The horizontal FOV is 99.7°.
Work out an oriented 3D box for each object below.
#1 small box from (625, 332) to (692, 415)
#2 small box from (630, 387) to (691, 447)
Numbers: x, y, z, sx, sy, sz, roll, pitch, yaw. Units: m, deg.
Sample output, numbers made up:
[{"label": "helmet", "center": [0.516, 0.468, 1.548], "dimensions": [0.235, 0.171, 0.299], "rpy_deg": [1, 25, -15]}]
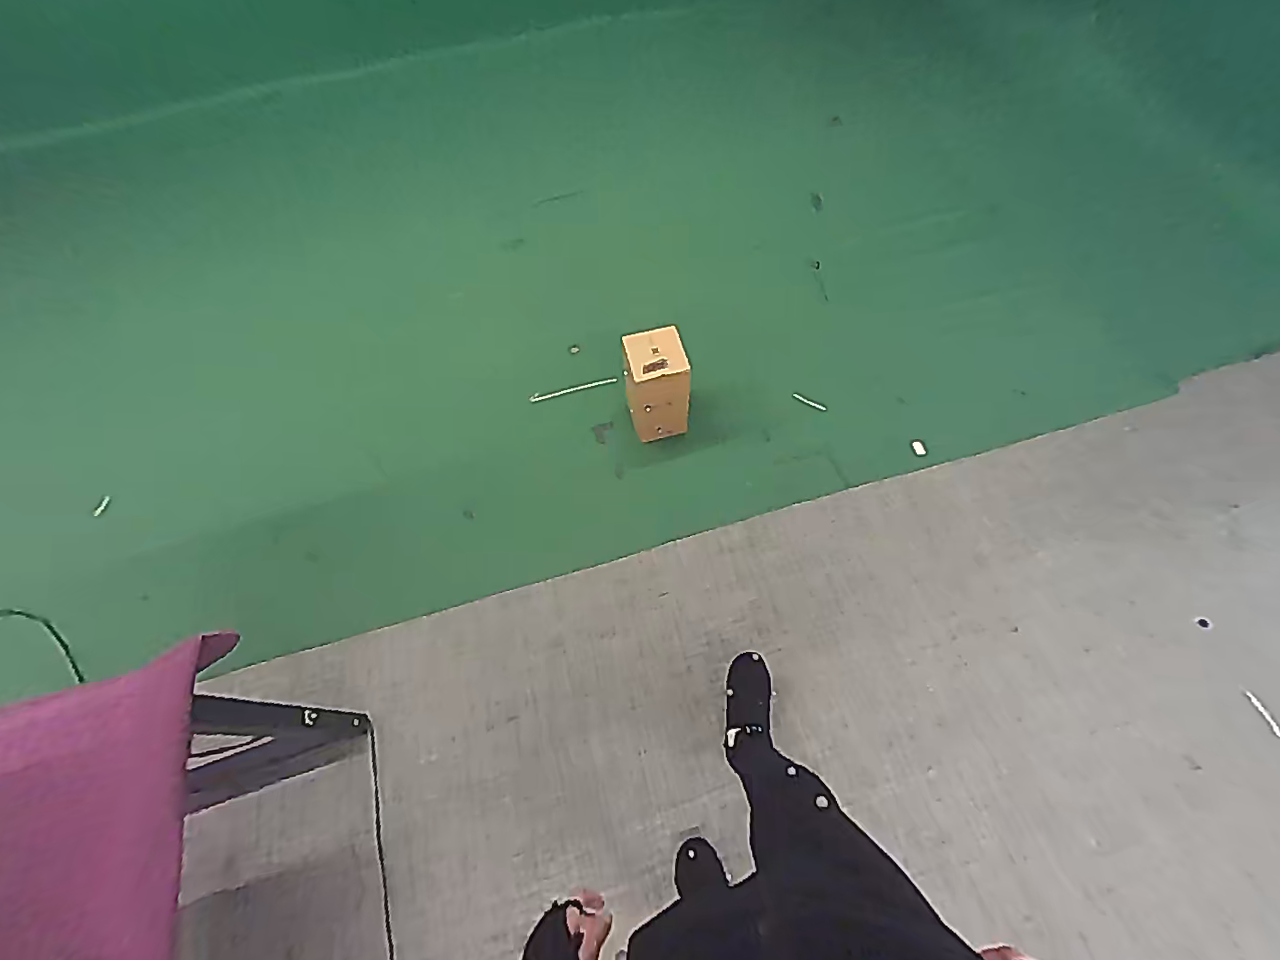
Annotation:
[{"label": "small box", "center": [0.056, -0.313, 1.636], "dimensions": [0.168, 0.176, 0.179], "rpy_deg": [-13, 62, -5]}, {"label": "small box", "center": [0.063, -0.237, 1.782], "dimensions": [0.168, 0.176, 0.179], "rpy_deg": [-14, 63, -5]}]
